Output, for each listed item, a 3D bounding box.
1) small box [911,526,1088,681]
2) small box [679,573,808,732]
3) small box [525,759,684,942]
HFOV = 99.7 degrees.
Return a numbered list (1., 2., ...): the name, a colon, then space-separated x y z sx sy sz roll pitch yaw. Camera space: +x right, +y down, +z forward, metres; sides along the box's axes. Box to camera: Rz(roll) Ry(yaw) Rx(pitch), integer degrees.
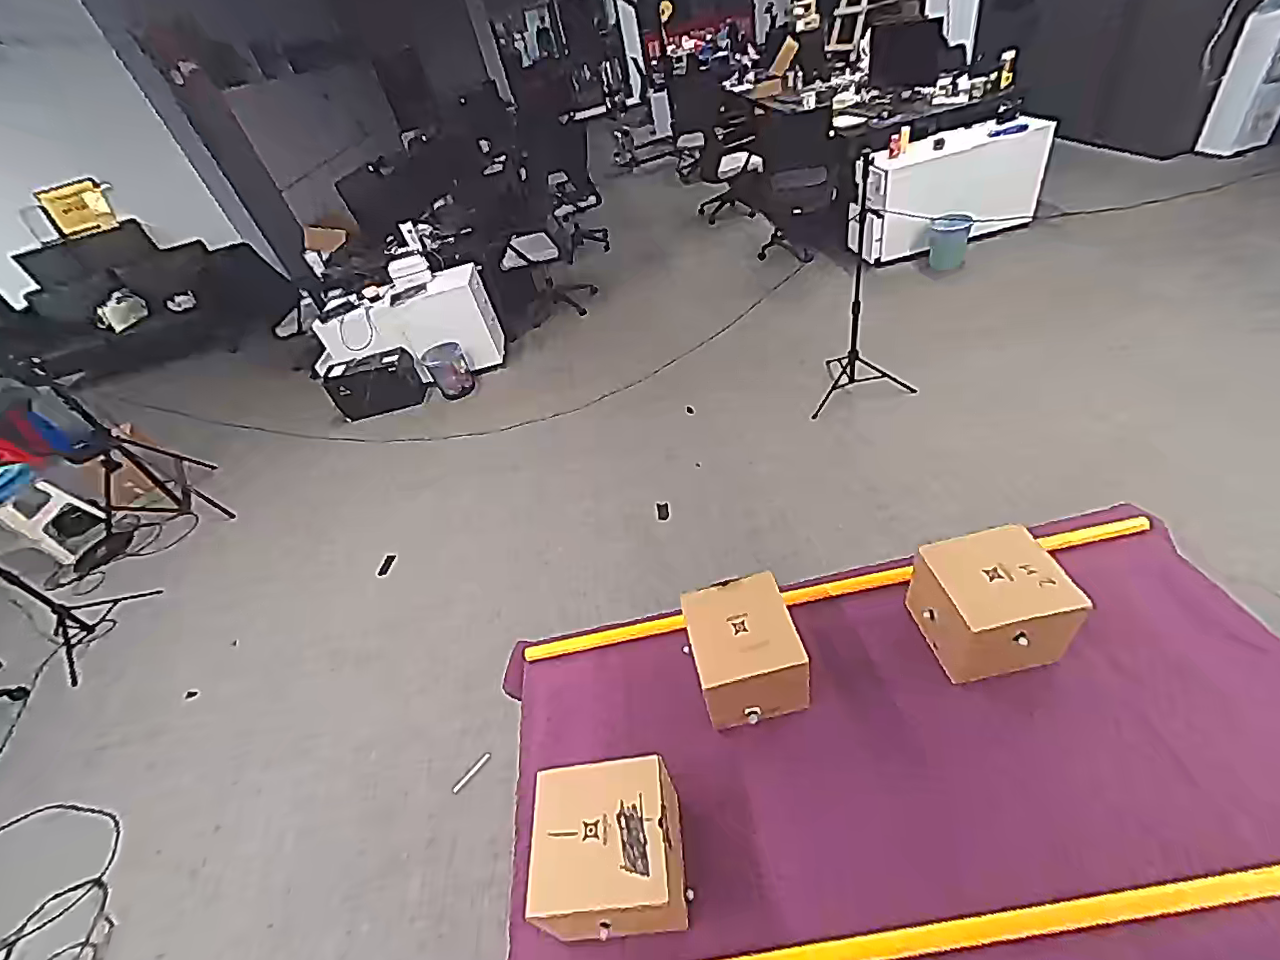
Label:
1. small box: 0.564 0.205 0.882 0.179 0.176 0.168 -14 42 3
2. small box: 0.173 0.291 0.913 0.168 0.176 0.179 -16 41 2
3. small box: -0.038 0.506 0.737 0.179 0.176 0.168 -10 41 6
